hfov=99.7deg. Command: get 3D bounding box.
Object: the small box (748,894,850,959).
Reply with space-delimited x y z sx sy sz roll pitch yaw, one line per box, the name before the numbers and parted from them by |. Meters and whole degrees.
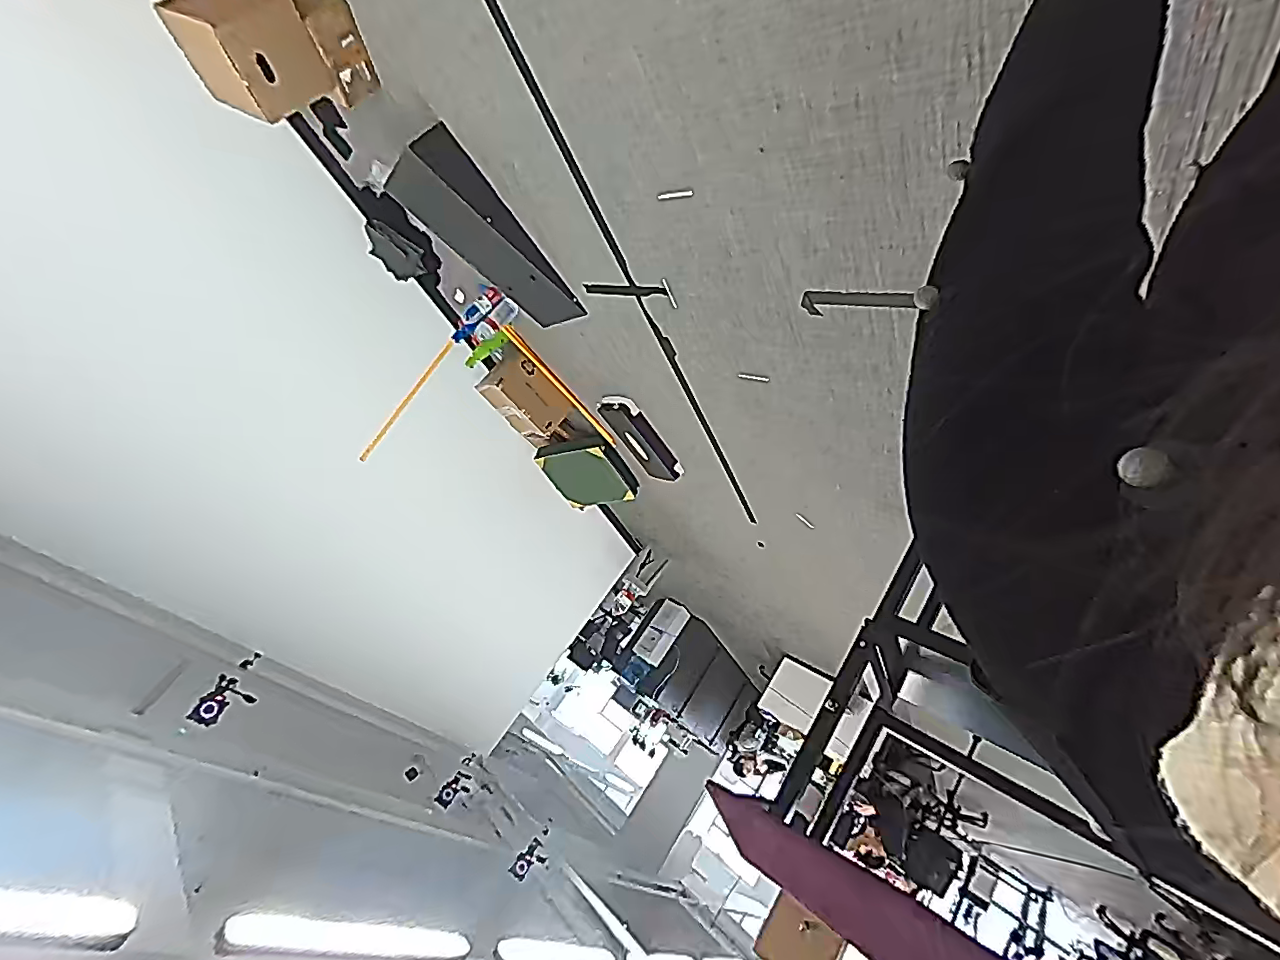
small box | 0.408 1.197 1.378 0.179 0.176 0.168 22 156 40
